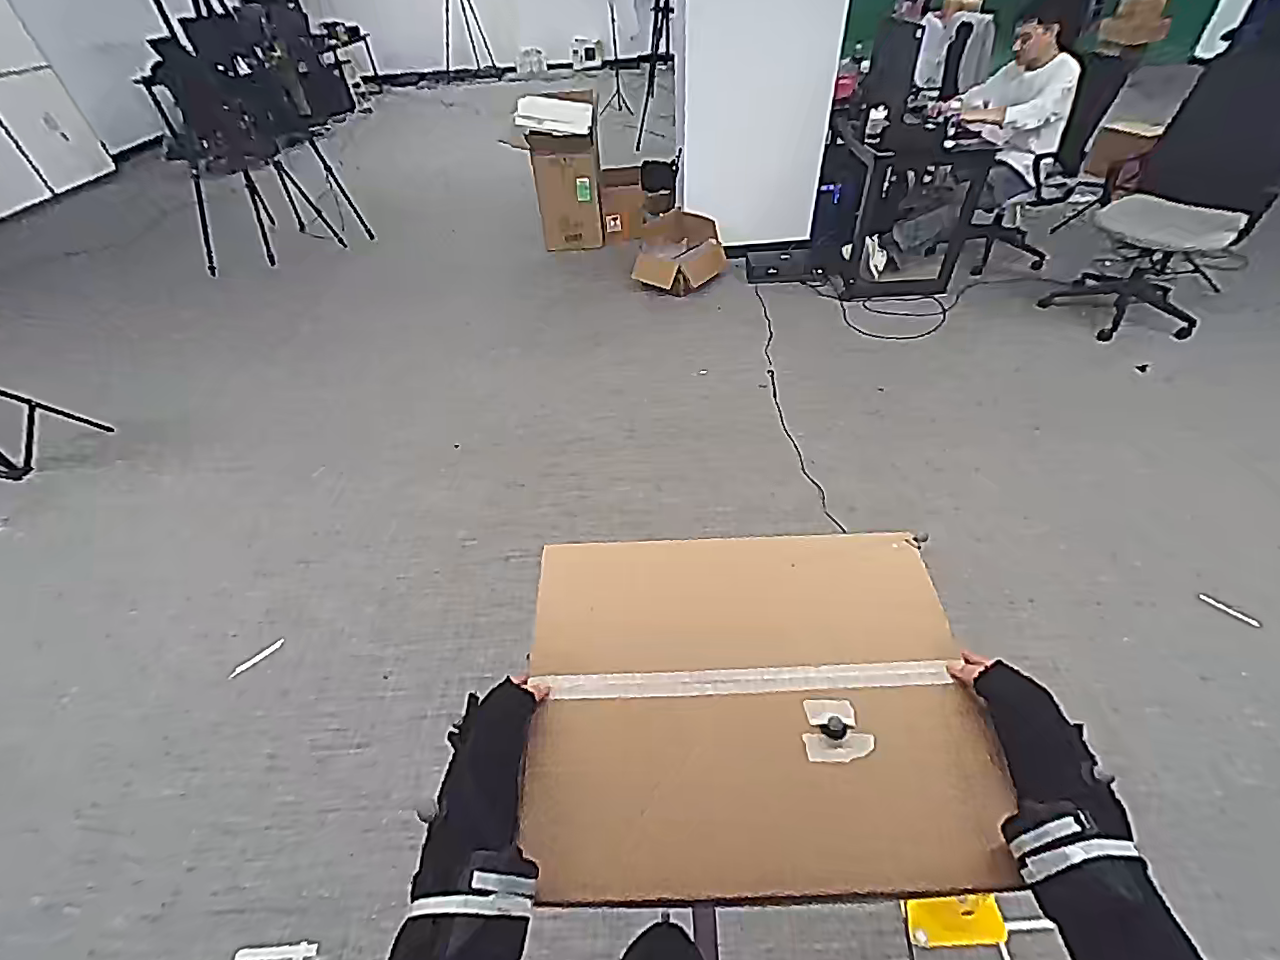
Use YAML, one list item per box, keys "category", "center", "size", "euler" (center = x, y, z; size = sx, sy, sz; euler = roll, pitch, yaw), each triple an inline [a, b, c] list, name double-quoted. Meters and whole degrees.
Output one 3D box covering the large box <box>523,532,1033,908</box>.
- category: "large box"
  center: [0.103, 0.280, 0.621]
  size: [0.408, 0.320, 0.320]
  euler: [-2, 51, 0]
